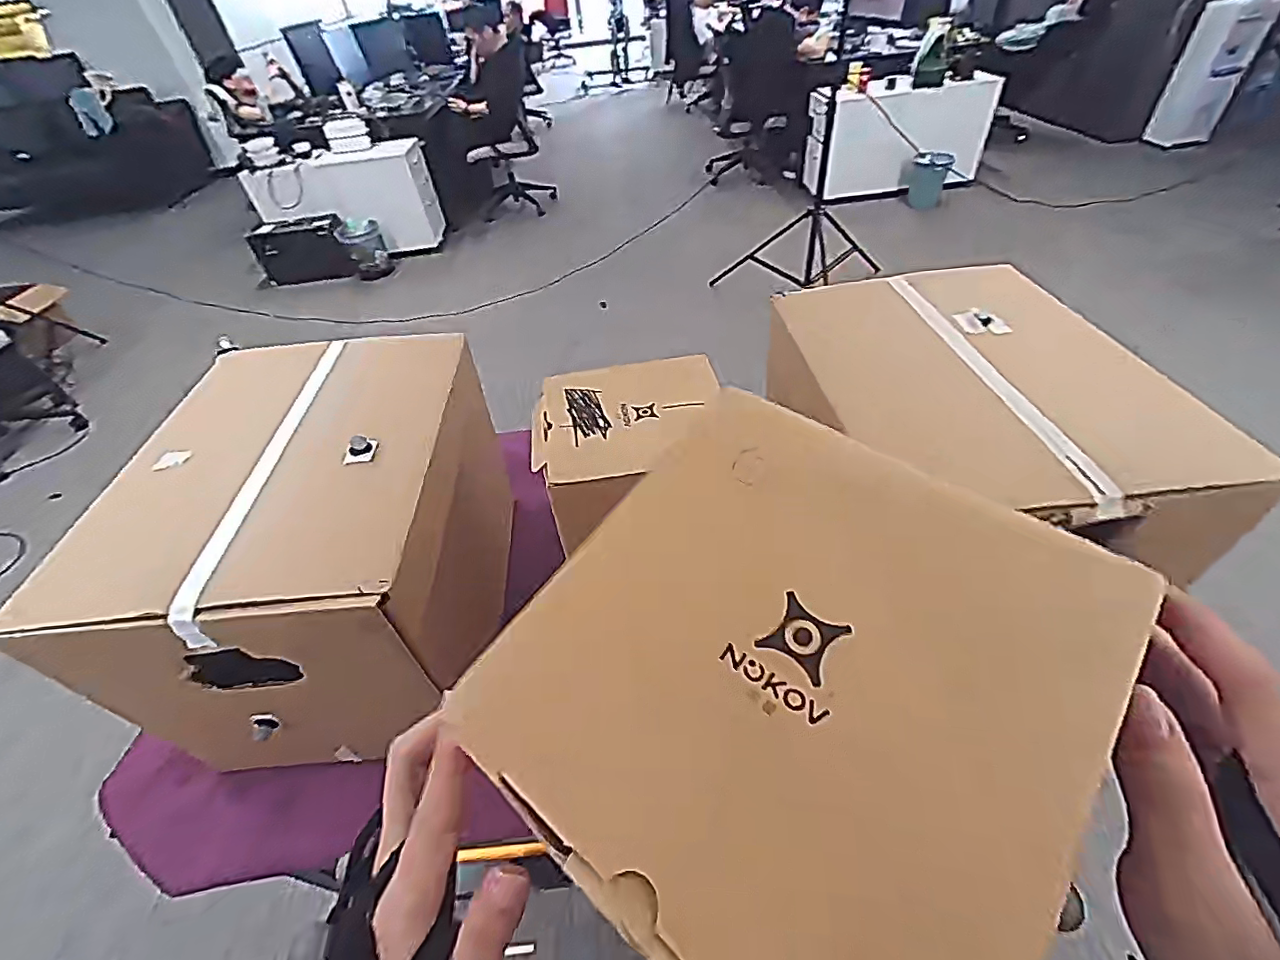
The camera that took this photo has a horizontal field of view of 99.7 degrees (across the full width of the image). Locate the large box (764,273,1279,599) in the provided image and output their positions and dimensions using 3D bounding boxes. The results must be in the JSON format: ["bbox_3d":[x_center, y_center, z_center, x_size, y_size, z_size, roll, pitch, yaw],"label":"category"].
[{"bbox_3d":[0.348,-0.004,0.651,0.320,0.320,0.408,-7,43,0],"label":"large box"}]

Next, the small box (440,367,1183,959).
[{"bbox_3d":[0.060,0.092,0.231,0.168,0.176,0.179,30,65,25],"label":"small box"}]
